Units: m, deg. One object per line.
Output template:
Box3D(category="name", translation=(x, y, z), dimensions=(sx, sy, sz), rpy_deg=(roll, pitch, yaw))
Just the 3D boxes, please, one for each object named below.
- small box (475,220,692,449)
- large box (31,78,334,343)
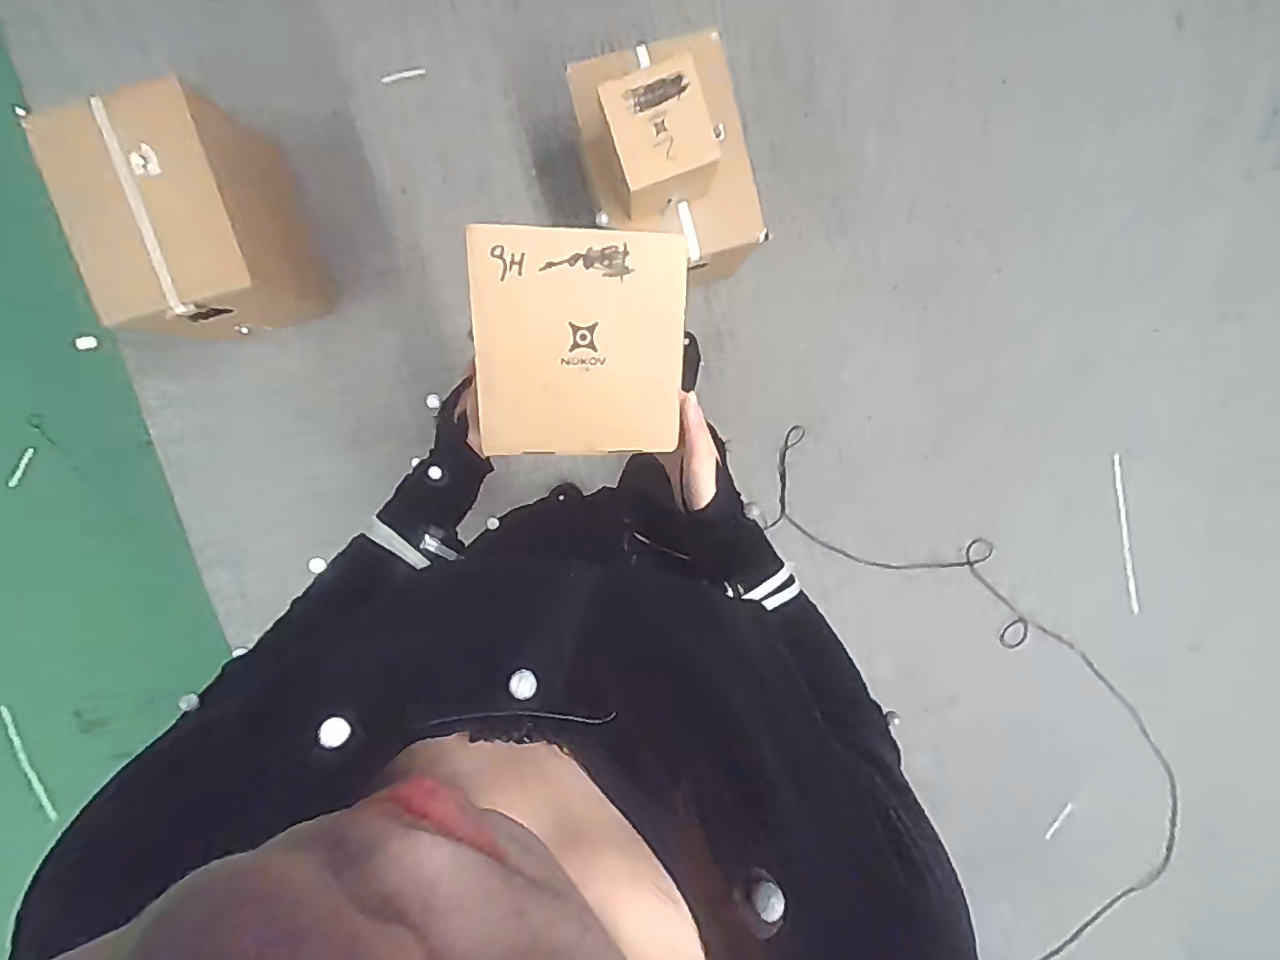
Box3D(category="small box", translation=(-0.057, -0.137, 0.507), dimensions=(0.168, 0.176, 0.179), rpy_deg=(-2, 110, -11))
Box3D(category="large box", translation=(-0.968, -0.557, 1.202), dimensions=(0.320, 0.320, 0.408), rpy_deg=(-15, 98, 1))
